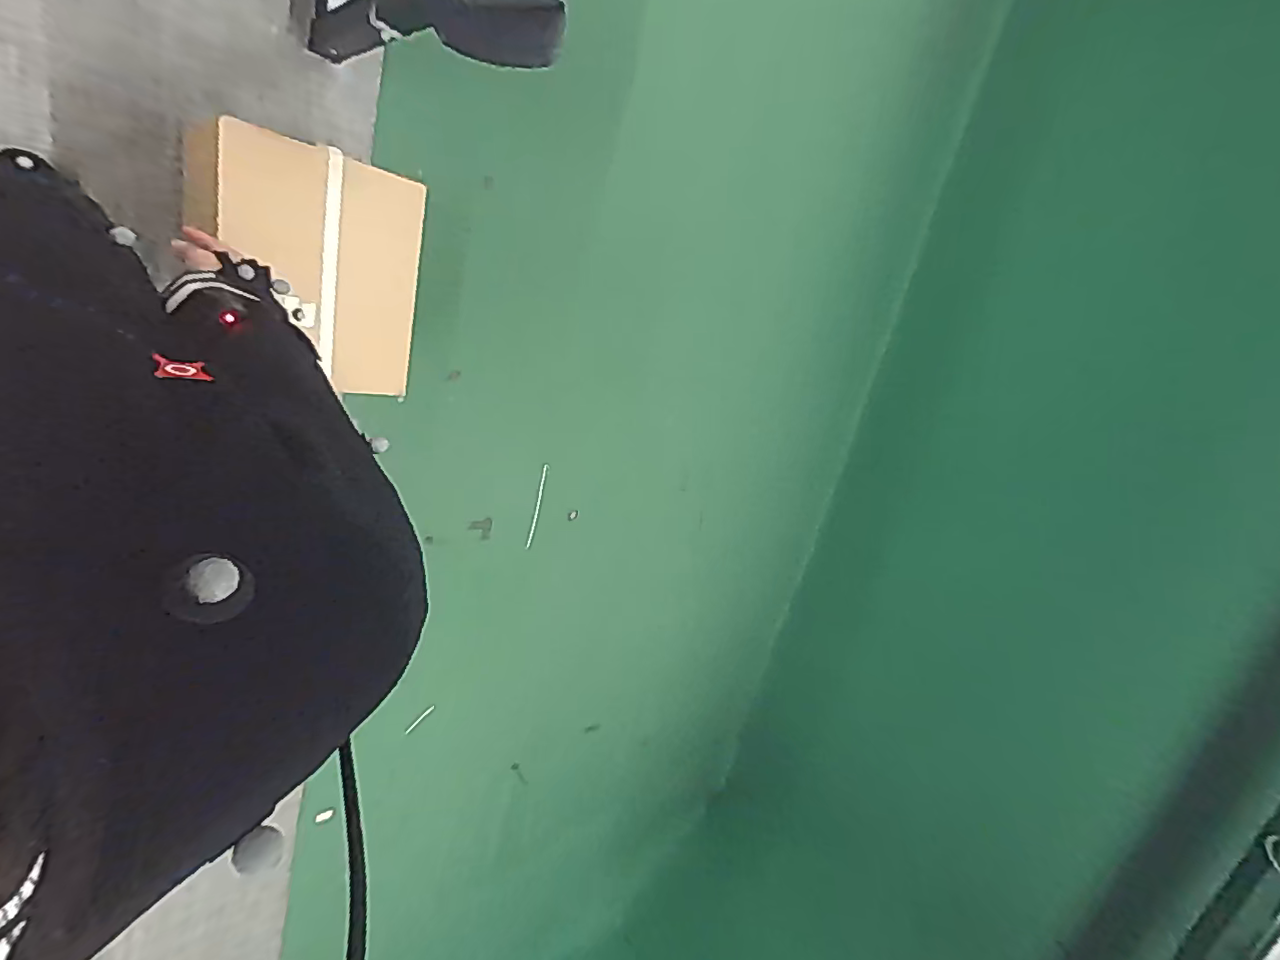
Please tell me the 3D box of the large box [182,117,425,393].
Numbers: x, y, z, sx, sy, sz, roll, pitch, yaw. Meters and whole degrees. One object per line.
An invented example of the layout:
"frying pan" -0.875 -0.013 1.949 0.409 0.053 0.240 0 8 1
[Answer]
"large box" -0.645 -0.407 1.035 0.320 0.320 0.408 -5 115 -46
